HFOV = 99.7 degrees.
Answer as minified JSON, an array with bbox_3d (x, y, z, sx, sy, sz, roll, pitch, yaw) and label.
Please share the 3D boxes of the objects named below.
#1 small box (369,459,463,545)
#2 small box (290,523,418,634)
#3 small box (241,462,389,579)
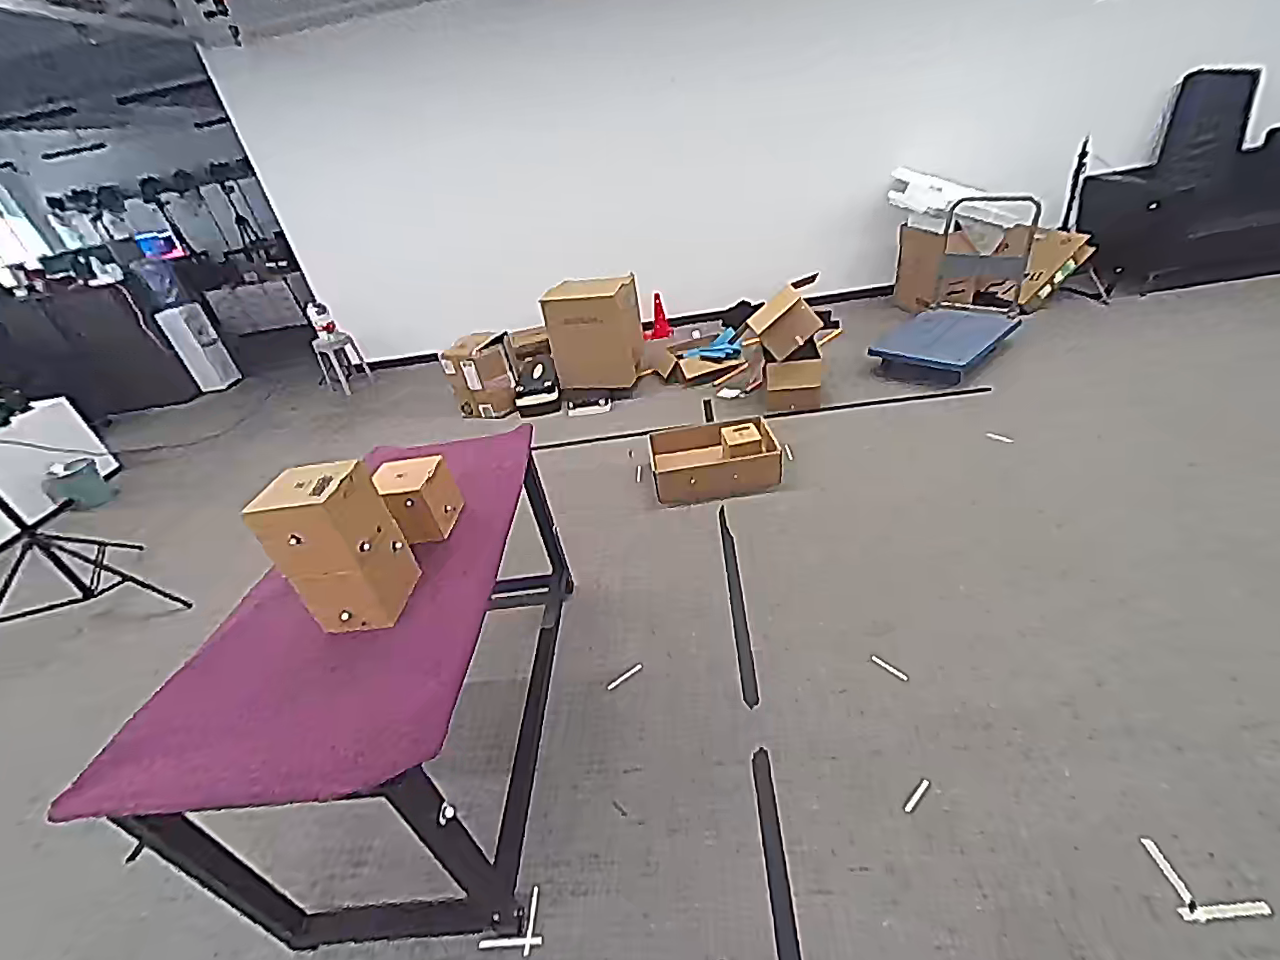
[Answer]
[{"bbox_3d":[-0.606,0.064,1.449,0.179,0.176,0.168,-7,33,7],"label":"small box"},{"bbox_3d":[-0.626,0.220,1.215,0.168,0.176,0.179,-7,33,7],"label":"small box"},{"bbox_3d":[-0.660,0.085,1.128,0.179,0.176,0.168,-8,32,5],"label":"small box"}]
